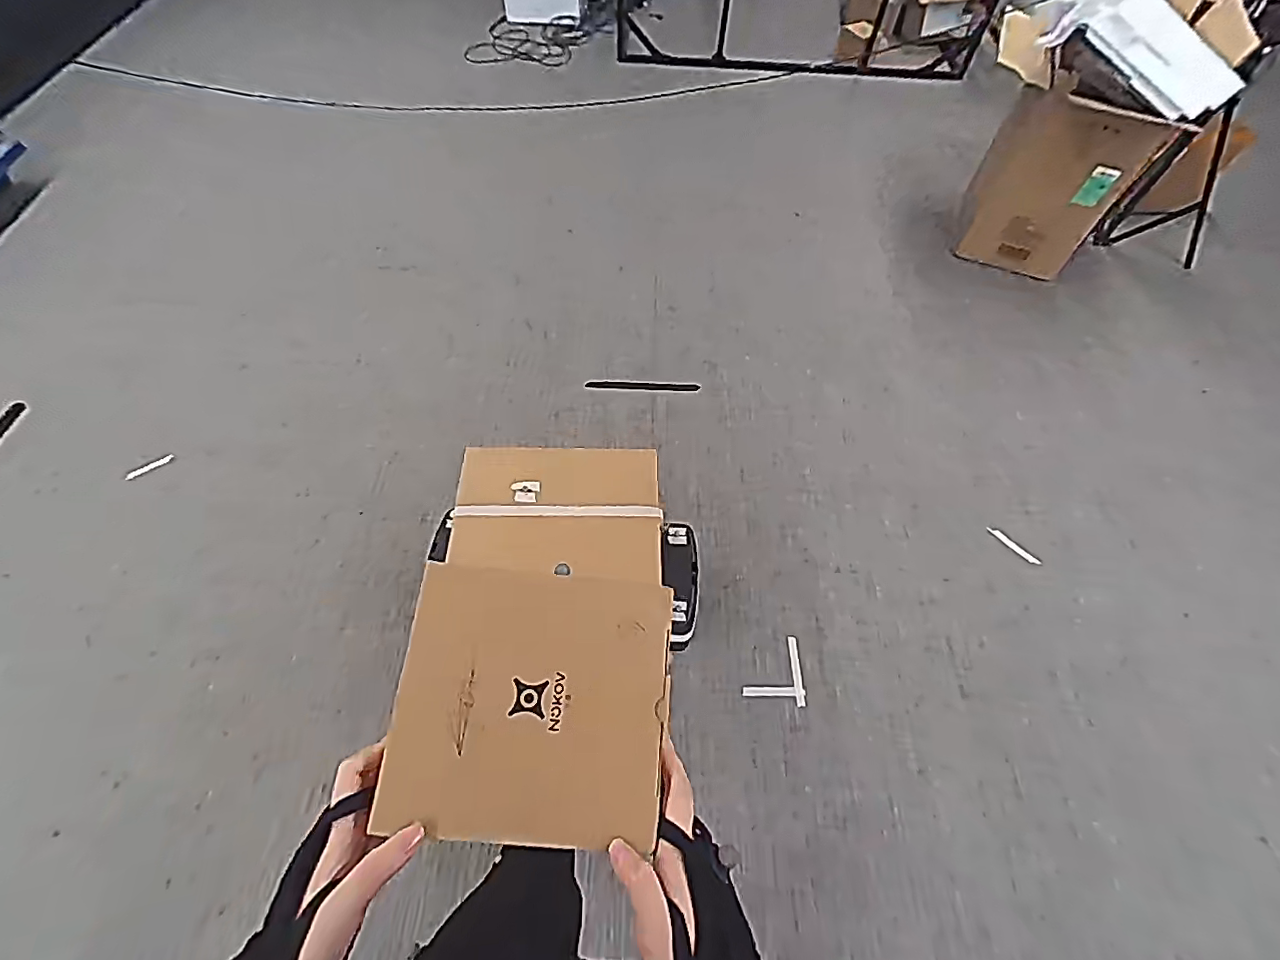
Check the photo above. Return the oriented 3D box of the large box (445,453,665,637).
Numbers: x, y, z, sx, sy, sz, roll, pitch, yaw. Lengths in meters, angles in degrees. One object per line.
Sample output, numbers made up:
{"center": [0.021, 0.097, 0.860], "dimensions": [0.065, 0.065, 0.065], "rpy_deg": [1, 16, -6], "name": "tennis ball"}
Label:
{"center": [-0.157, 0.152, 1.180], "dimensions": [0.408, 0.320, 0.320], "rpy_deg": [0, 58, -1], "name": "large box"}
